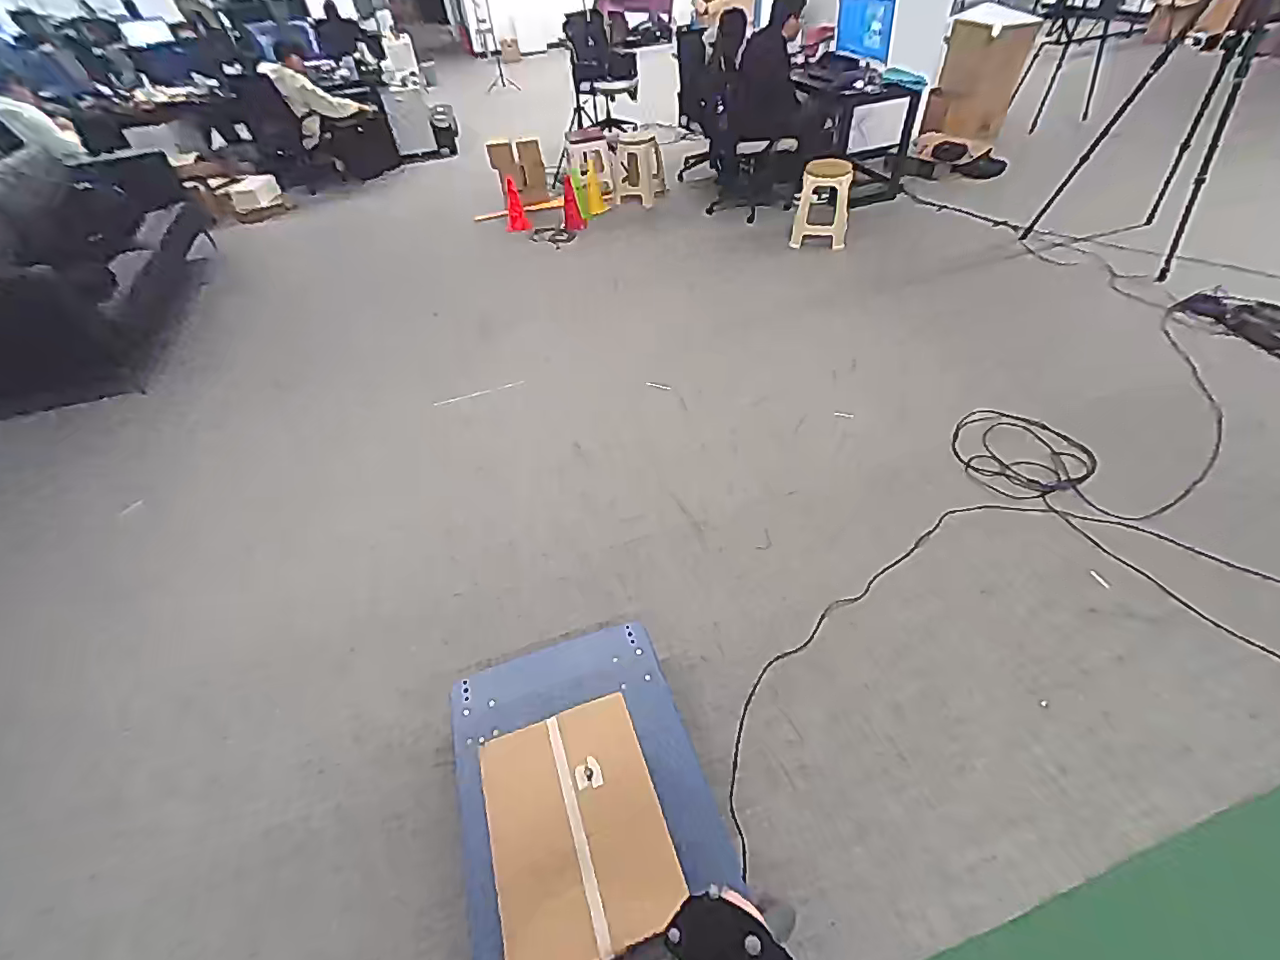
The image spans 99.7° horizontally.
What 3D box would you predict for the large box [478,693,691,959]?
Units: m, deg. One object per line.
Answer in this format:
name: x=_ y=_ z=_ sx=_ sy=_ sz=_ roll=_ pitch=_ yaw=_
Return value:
large box: x=-0.113 y=0.737 z=1.119 sx=0.320 sy=0.320 sz=0.408 roll=-17 pitch=46 yaw=-11
